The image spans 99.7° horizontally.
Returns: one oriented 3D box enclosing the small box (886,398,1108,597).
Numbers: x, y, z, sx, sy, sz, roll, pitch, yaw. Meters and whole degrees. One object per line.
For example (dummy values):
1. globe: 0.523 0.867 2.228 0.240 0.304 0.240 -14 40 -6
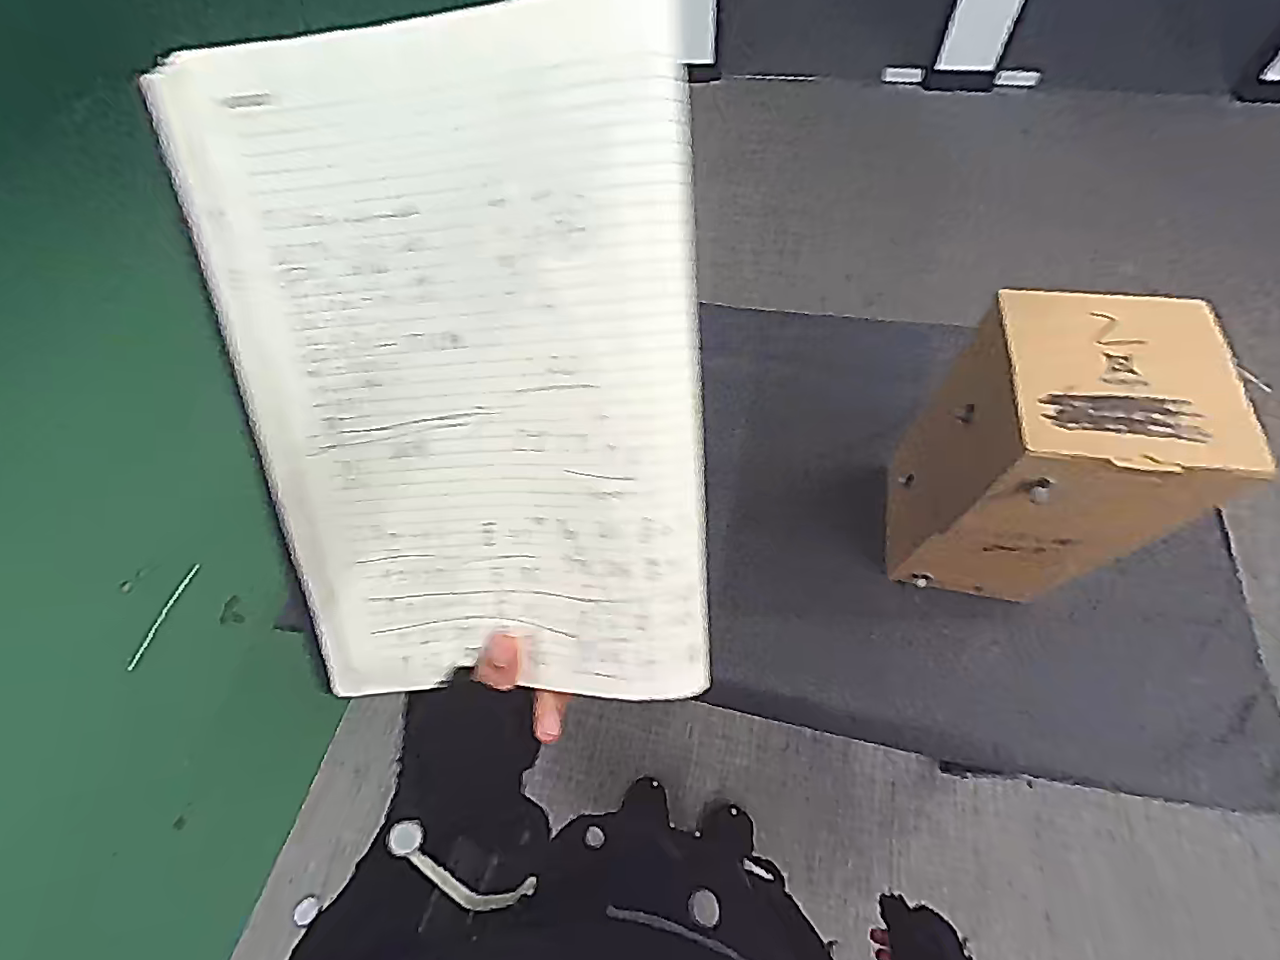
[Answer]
1. small box: 0.410 0.027 0.655 0.168 0.176 0.179 9 62 10
